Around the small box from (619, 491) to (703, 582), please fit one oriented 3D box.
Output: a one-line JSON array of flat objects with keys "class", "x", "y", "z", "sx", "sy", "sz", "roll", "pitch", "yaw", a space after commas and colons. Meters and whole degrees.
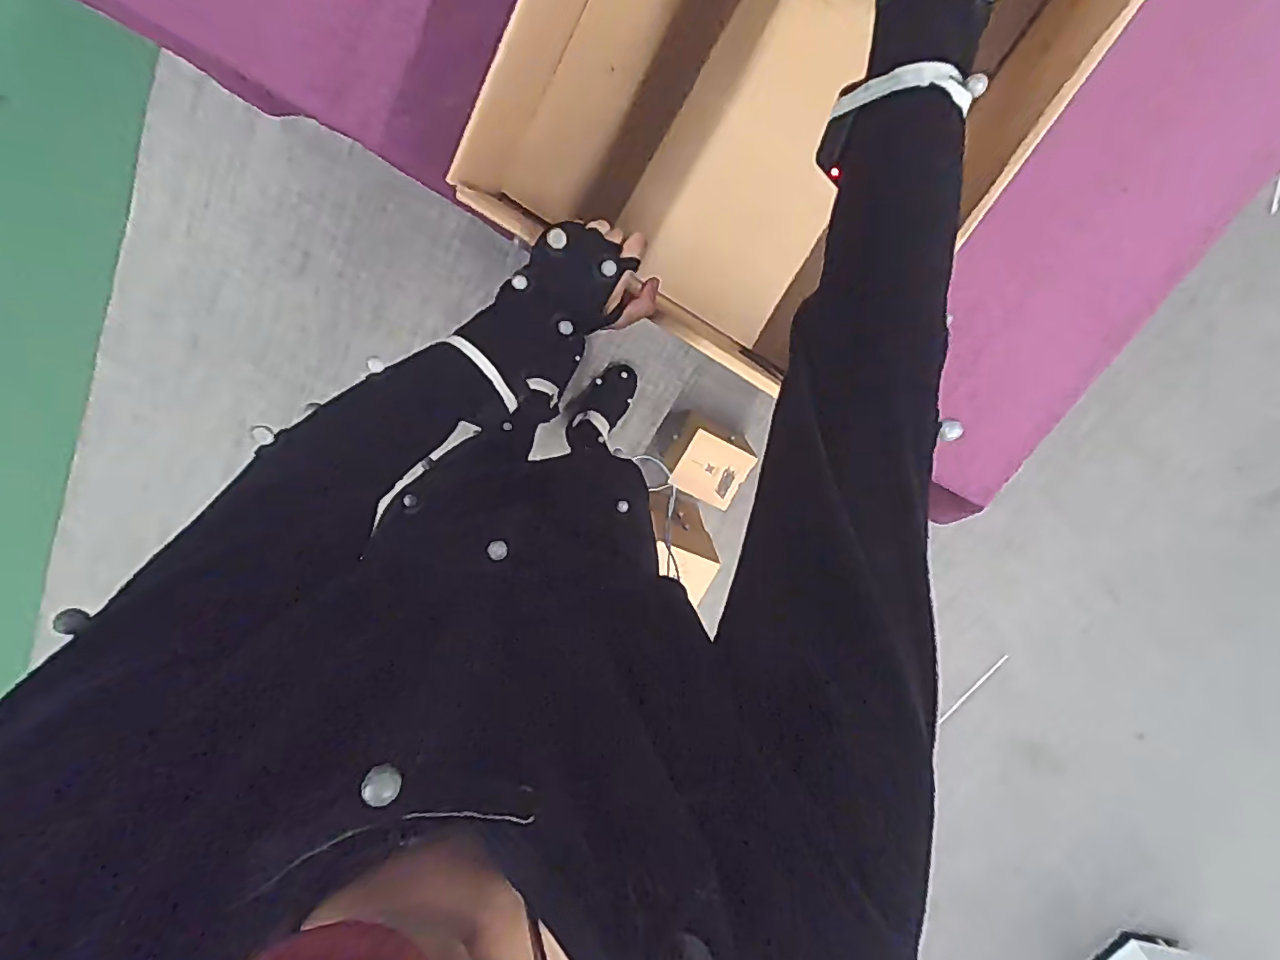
[{"class": "small box", "x": 0.051, "y": 0.150, "z": 1.507, "sx": 0.179, "sy": 0.176, "sz": 0.168, "roll": 22, "pitch": 109, "yaw": -11}]
